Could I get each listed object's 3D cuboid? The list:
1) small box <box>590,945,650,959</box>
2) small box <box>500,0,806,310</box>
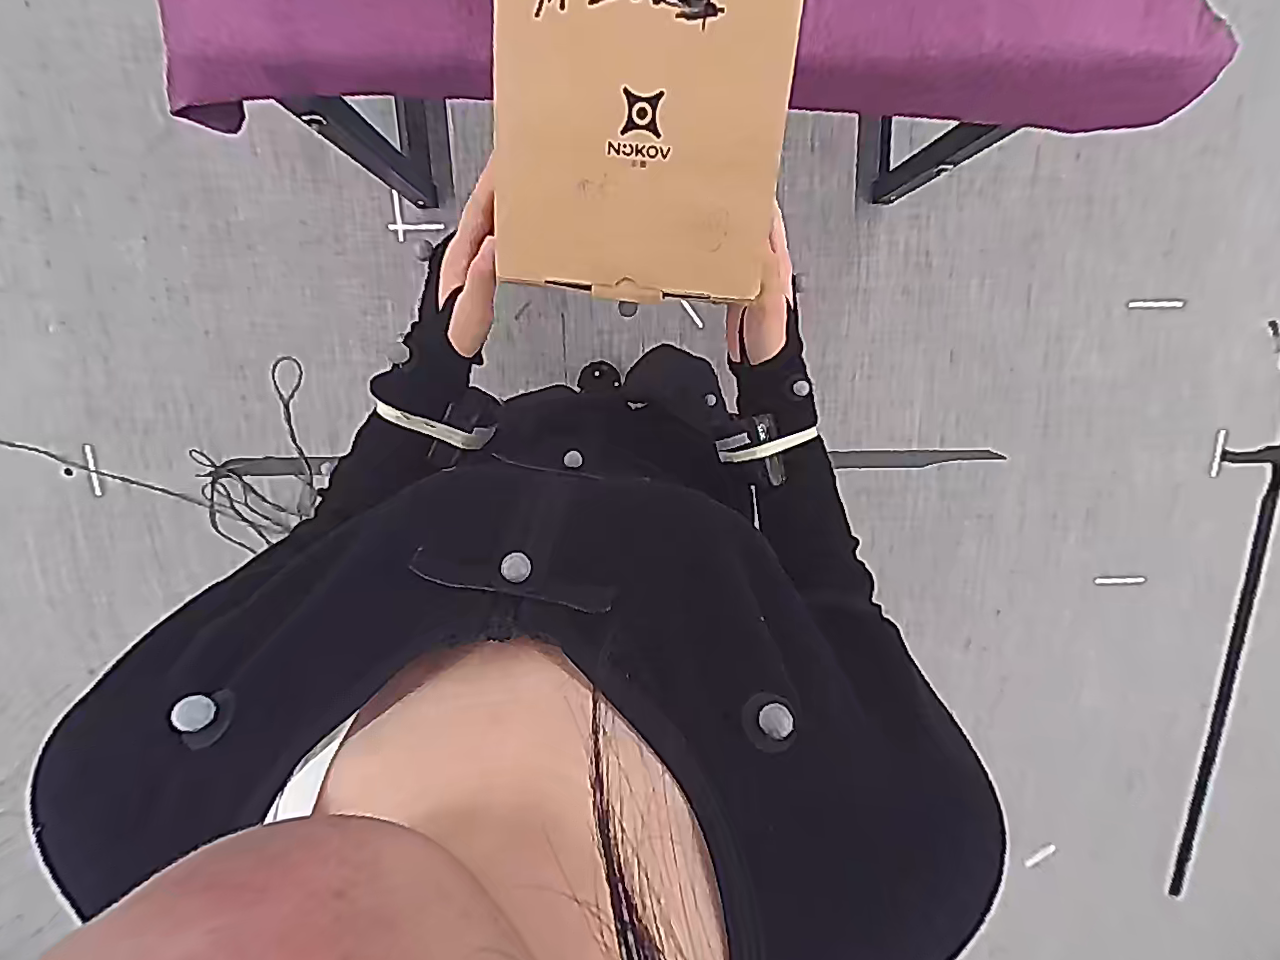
[{"bbox_3d":[-0.049,1.384,1.427,0.168,0.176,0.179,-4,102,-2],"label":"small box"},{"bbox_3d":[0.002,-0.224,0.390,0.168,0.176,0.179,5,109,-2],"label":"small box"}]
